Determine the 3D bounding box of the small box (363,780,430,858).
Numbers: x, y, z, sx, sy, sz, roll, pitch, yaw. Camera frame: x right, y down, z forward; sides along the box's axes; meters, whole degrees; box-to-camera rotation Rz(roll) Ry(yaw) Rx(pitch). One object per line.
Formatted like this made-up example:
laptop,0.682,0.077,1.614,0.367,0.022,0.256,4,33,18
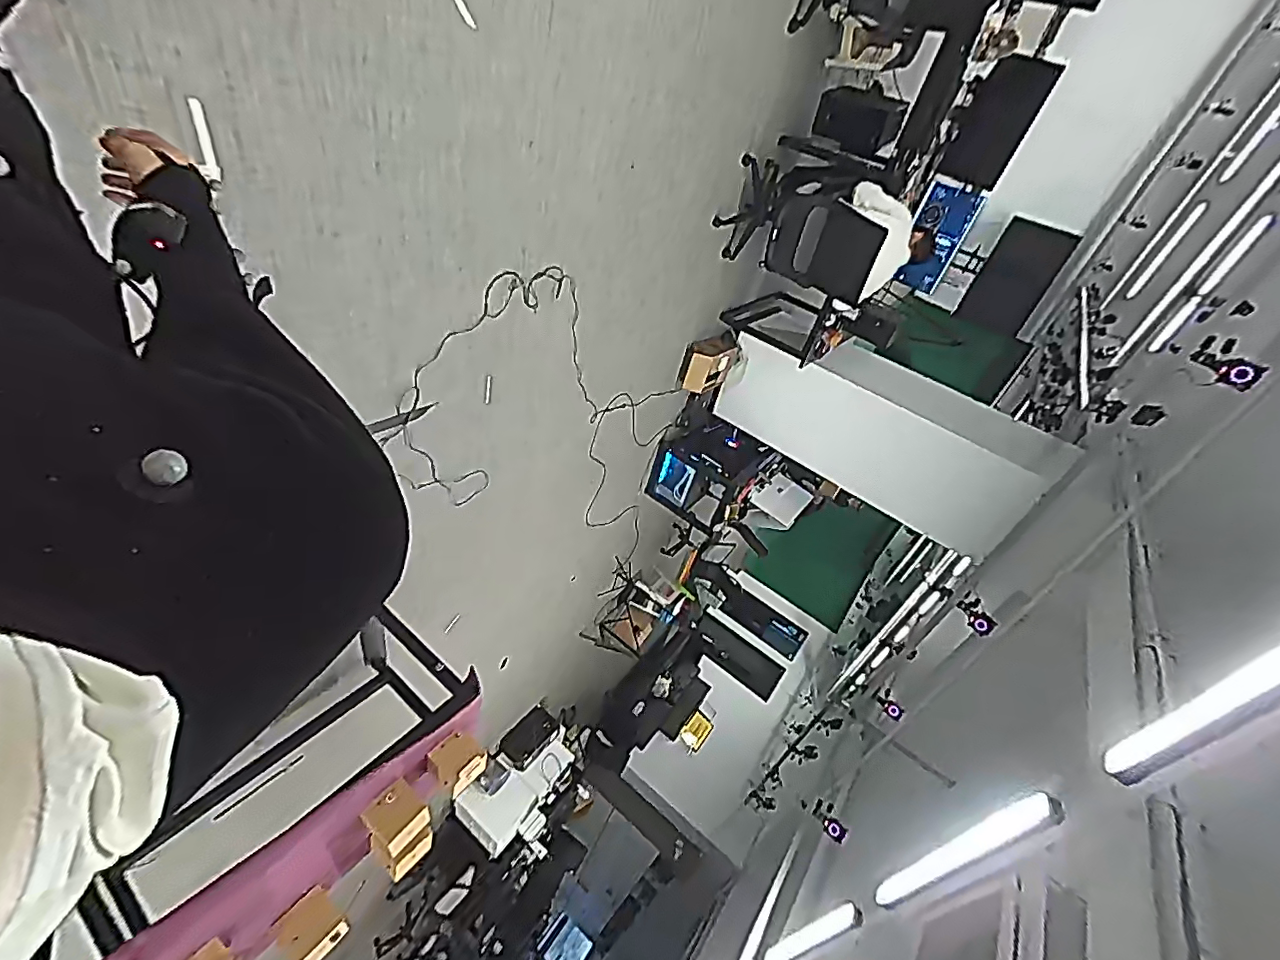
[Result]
small box,-0.921,1.279,2.049,0.168,0.176,0.179,-38,153,-42

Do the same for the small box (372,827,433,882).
small box,-0.979,1.493,2.224,0.168,0.176,0.179,-31,147,-47

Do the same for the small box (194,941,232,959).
small box,-1.284,1.518,1.588,0.179,0.176,0.168,-35,150,-48

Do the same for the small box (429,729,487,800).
small box,-0.759,1.174,2.244,0.168,0.176,0.179,-35,152,-44
